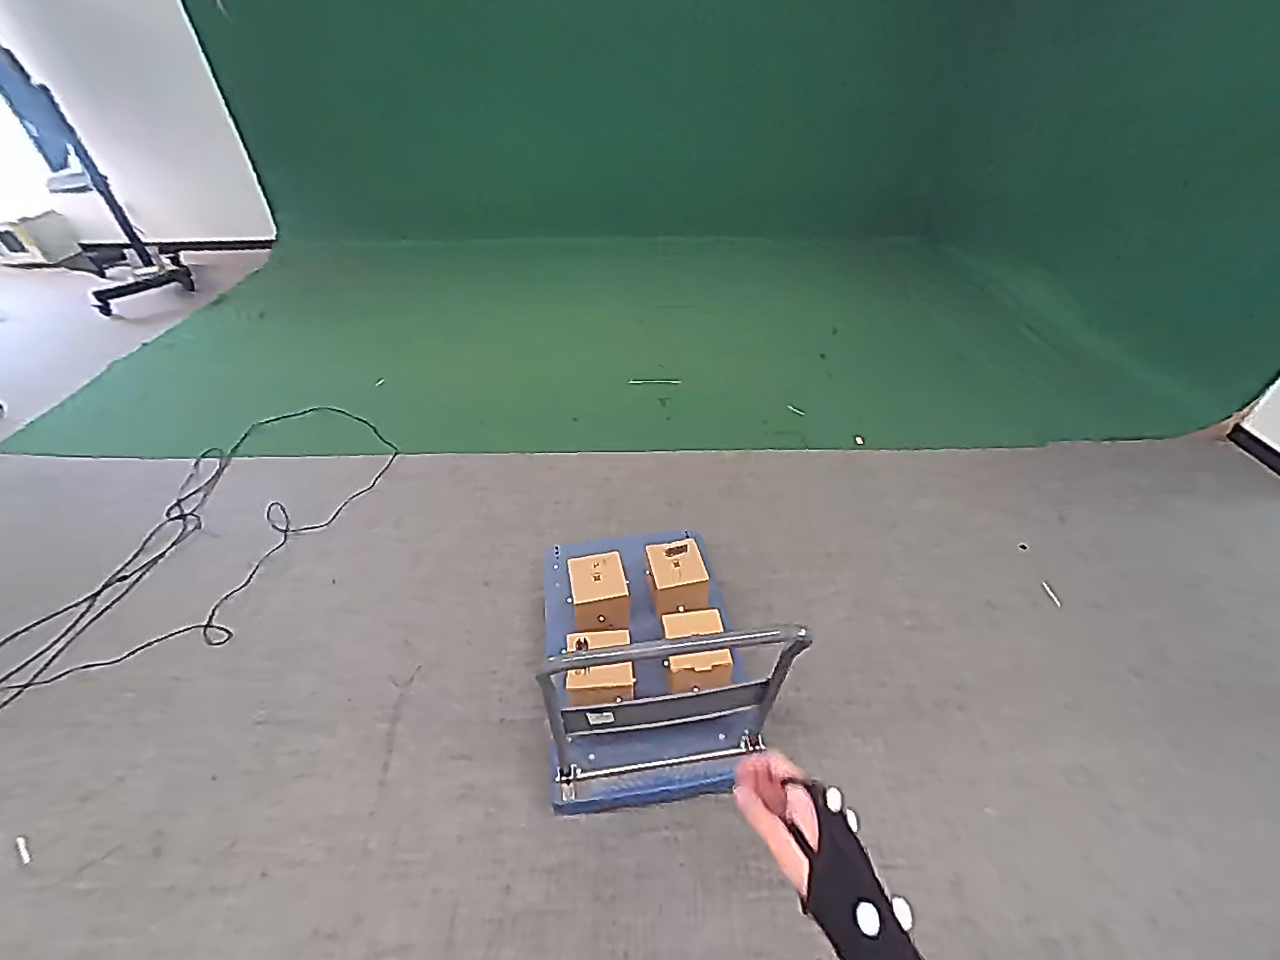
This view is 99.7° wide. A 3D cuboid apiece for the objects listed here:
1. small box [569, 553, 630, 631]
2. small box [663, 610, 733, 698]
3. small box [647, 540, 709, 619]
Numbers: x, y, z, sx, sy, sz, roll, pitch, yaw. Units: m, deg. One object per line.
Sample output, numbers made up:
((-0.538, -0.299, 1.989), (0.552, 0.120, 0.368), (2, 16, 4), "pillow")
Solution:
((-0.128, 0.362, 1.722), (0.168, 0.176, 0.179), (-8, 42, -9), "small box")
((0.159, 0.502, 1.562), (0.168, 0.176, 0.179), (-6, 42, -6), "small box")
((0.118, 0.323, 1.761), (0.168, 0.176, 0.179), (-9, 43, -8), "small box")
